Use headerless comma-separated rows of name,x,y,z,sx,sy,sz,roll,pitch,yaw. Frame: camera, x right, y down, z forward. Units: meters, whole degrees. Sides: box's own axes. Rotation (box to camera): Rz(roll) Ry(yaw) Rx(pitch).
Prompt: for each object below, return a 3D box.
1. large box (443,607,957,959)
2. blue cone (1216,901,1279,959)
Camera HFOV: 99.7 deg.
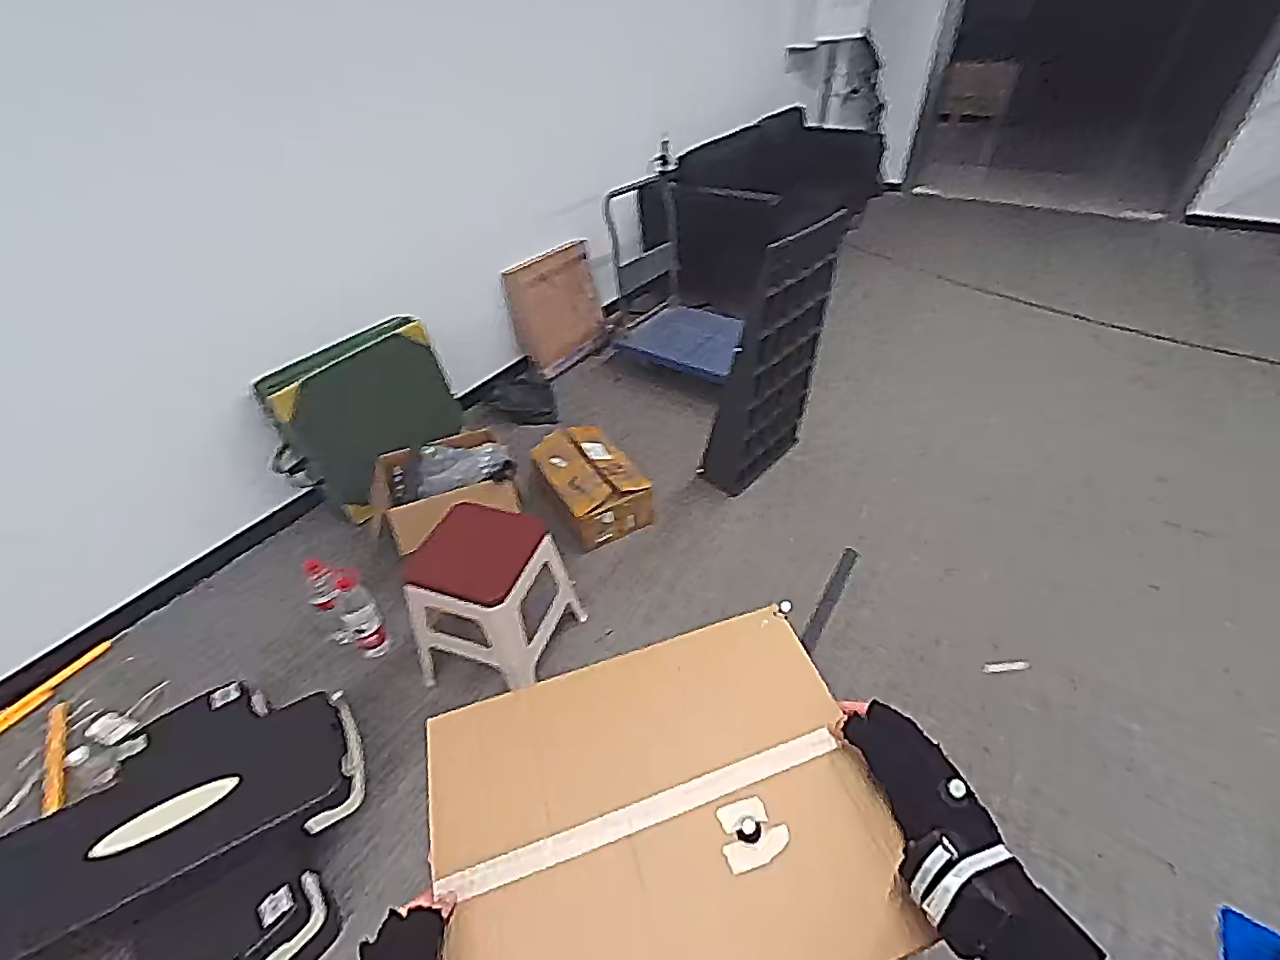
large box,0.033,0.406,0.602,0.408,0.320,0.320,-14,45,-11
blue cone,1.284,0.866,0.981,0.193,0.380,0.192,25,47,28
